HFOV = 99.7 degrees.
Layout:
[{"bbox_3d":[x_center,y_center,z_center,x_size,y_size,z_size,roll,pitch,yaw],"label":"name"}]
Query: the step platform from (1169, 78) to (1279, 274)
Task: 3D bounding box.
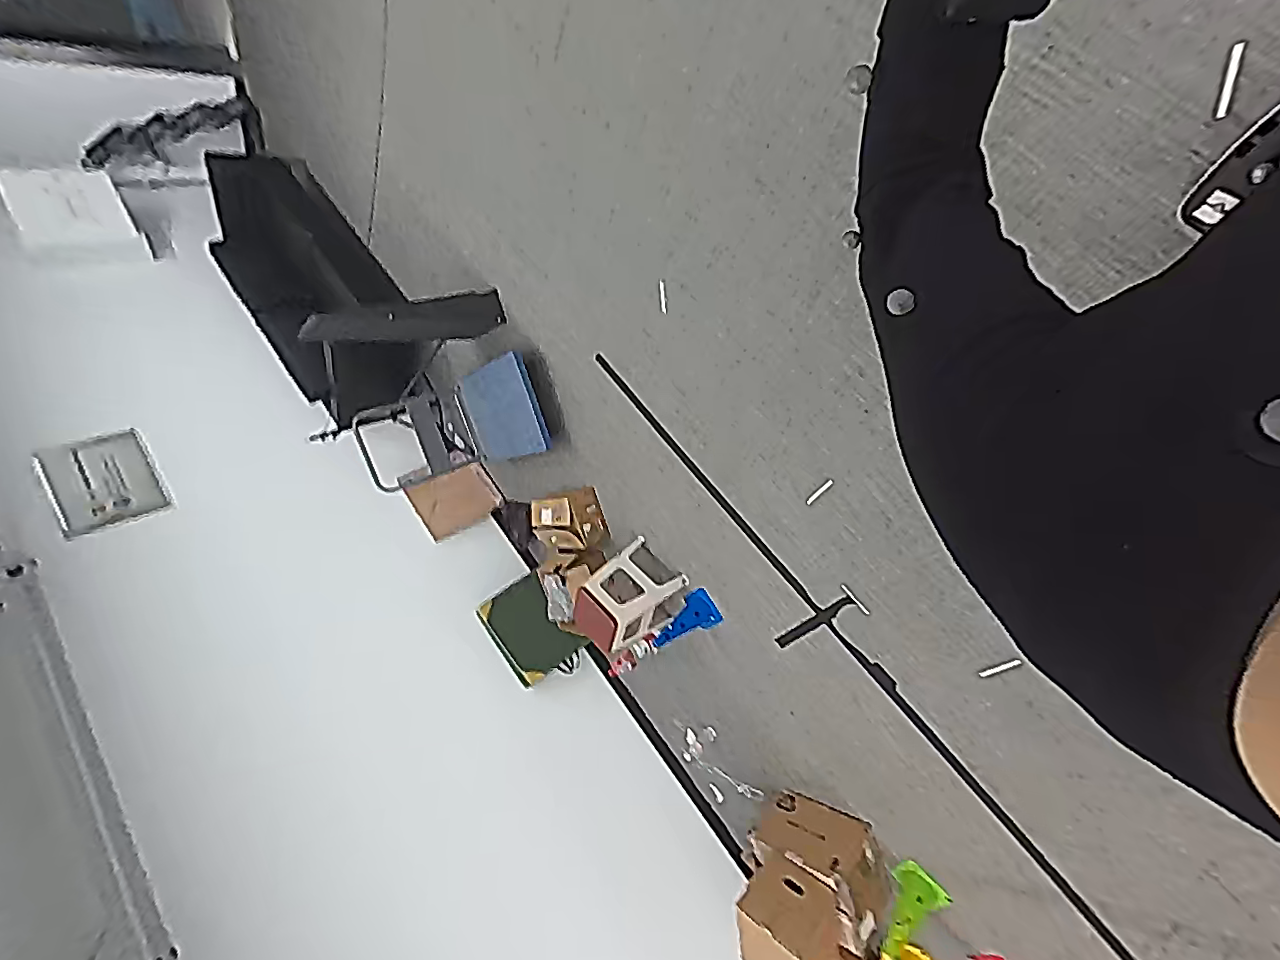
[{"bbox_3d":[1.291,-0.410,0.876,0.684,0.204,0.286,50,141,19],"label":"step platform"}]
